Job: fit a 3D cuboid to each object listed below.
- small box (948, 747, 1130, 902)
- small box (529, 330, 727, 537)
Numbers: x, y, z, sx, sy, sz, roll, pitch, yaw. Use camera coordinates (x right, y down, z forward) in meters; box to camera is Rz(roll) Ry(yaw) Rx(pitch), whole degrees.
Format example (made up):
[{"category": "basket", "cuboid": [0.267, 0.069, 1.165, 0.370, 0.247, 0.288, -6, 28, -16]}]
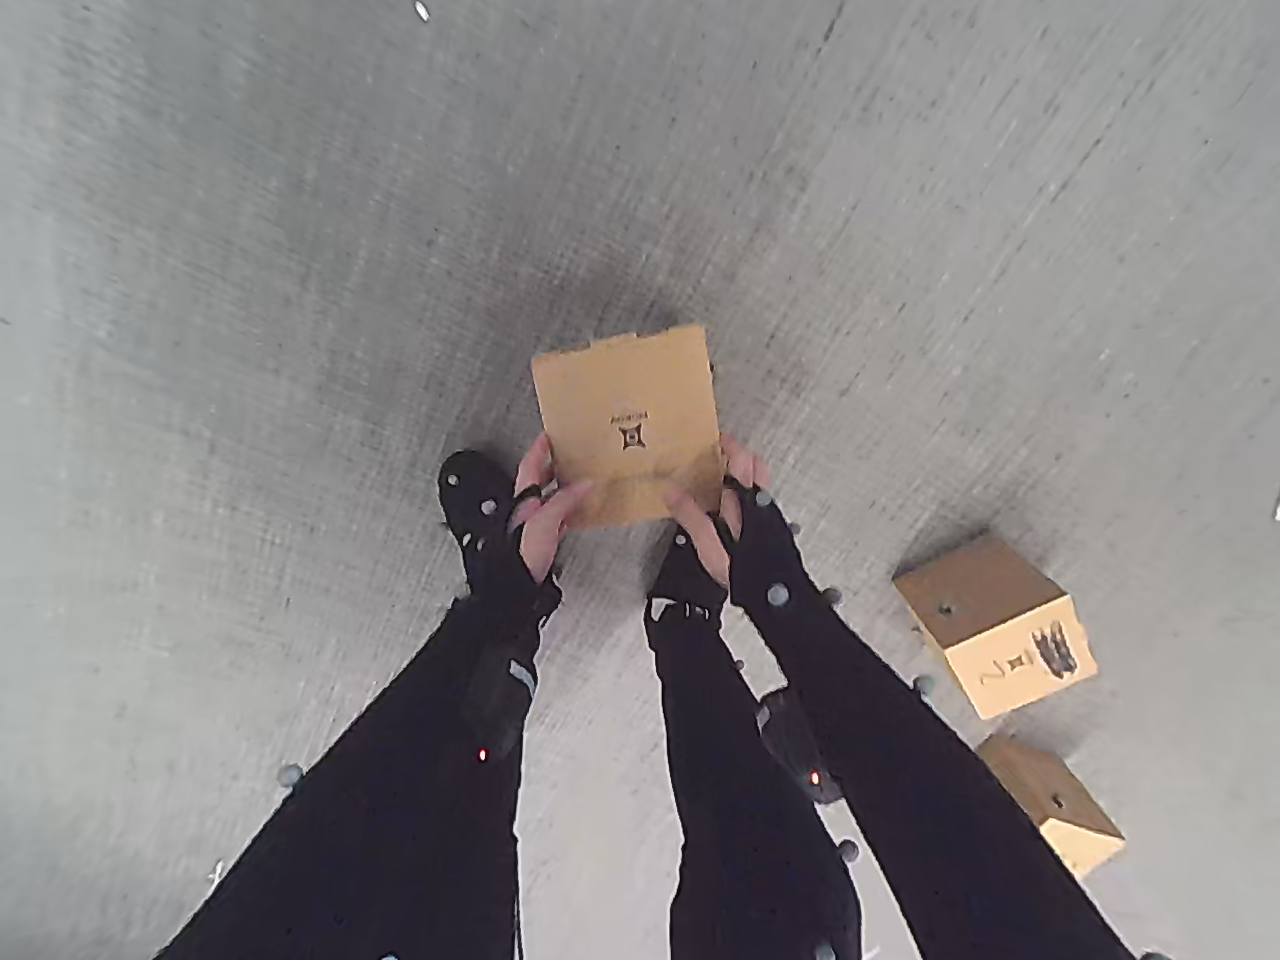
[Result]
[{"category": "small box", "cuboid": [0.725, 0.633, 1.009, 0.179, 0.176, 0.168, 21, 112, -10]}, {"category": "small box", "cuboid": [-0.003, -0.054, 0.586, 0.168, 0.176, 0.179, -9, 101, 8]}]
